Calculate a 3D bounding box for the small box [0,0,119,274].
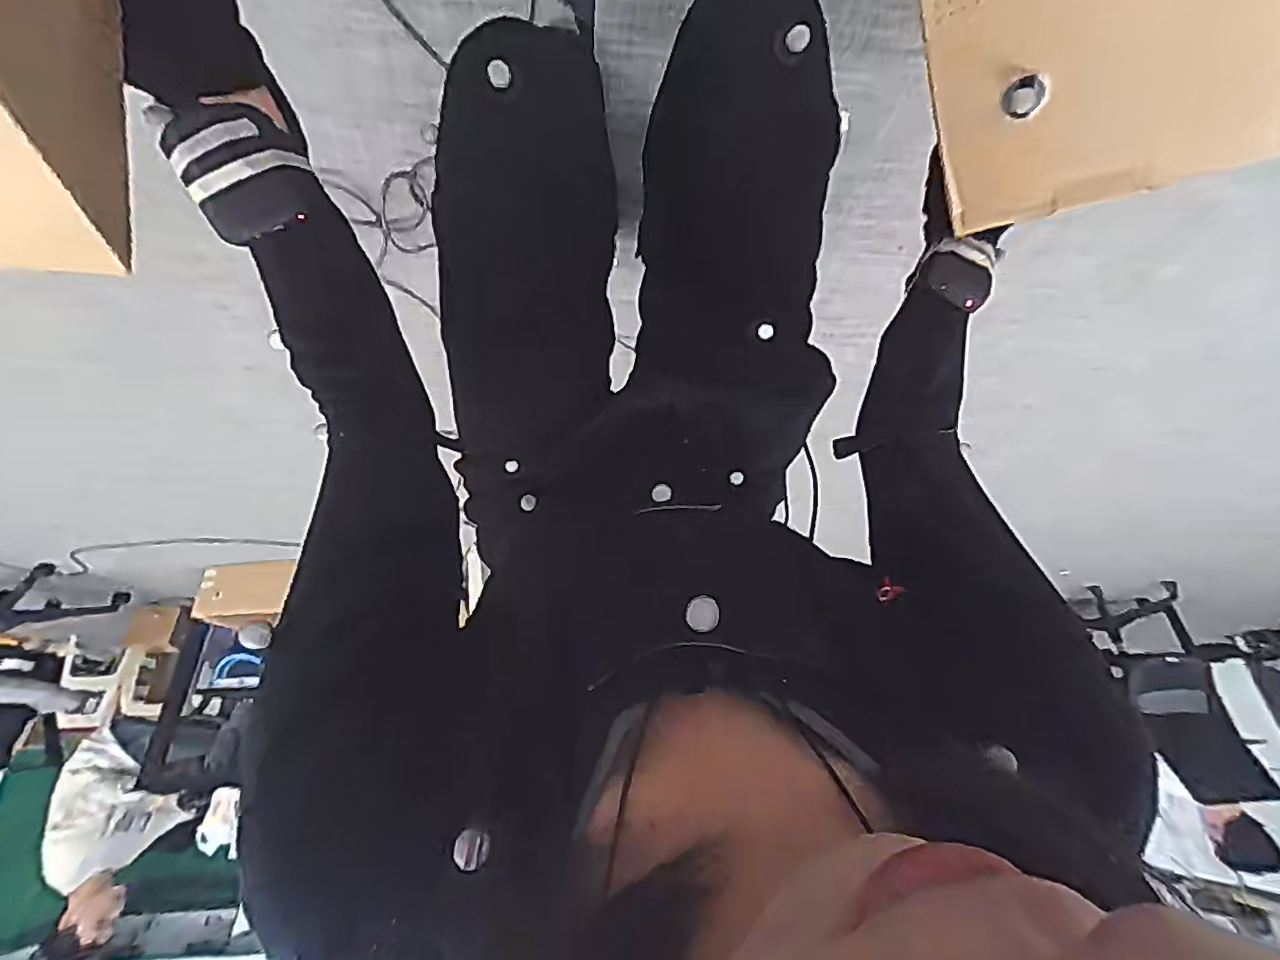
[{"bbox_3d":[-0.264,-0.177,0.128,0.168,0.179,0.176,-3,176,-30],"label":"small box"}]
